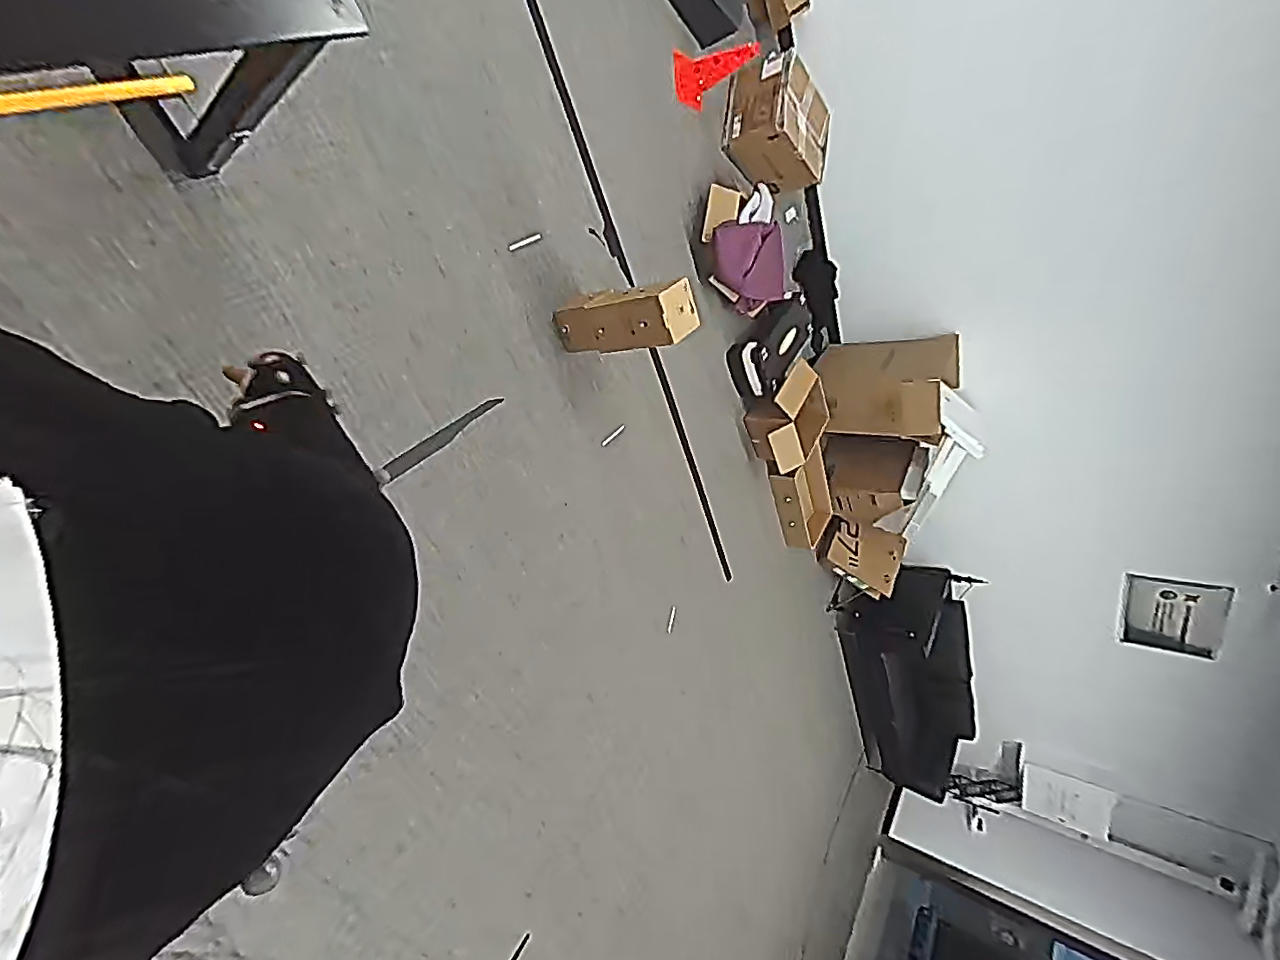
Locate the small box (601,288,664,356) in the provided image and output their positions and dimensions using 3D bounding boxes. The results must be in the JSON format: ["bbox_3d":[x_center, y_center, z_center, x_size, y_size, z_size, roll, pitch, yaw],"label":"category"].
[{"bbox_3d":[-0.004,-0.540,1.854,0.179,0.176,0.168,-46,126,-37],"label":"small box"}]

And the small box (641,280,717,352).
[{"bbox_3d":[0.121,-0.527,1.749,0.179,0.176,0.168,-45,126,-37],"label":"small box"}]

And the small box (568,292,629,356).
[{"bbox_3d":[-0.129,-0.564,1.960,0.179,0.176,0.168,-45,126,-36],"label":"small box"}]
